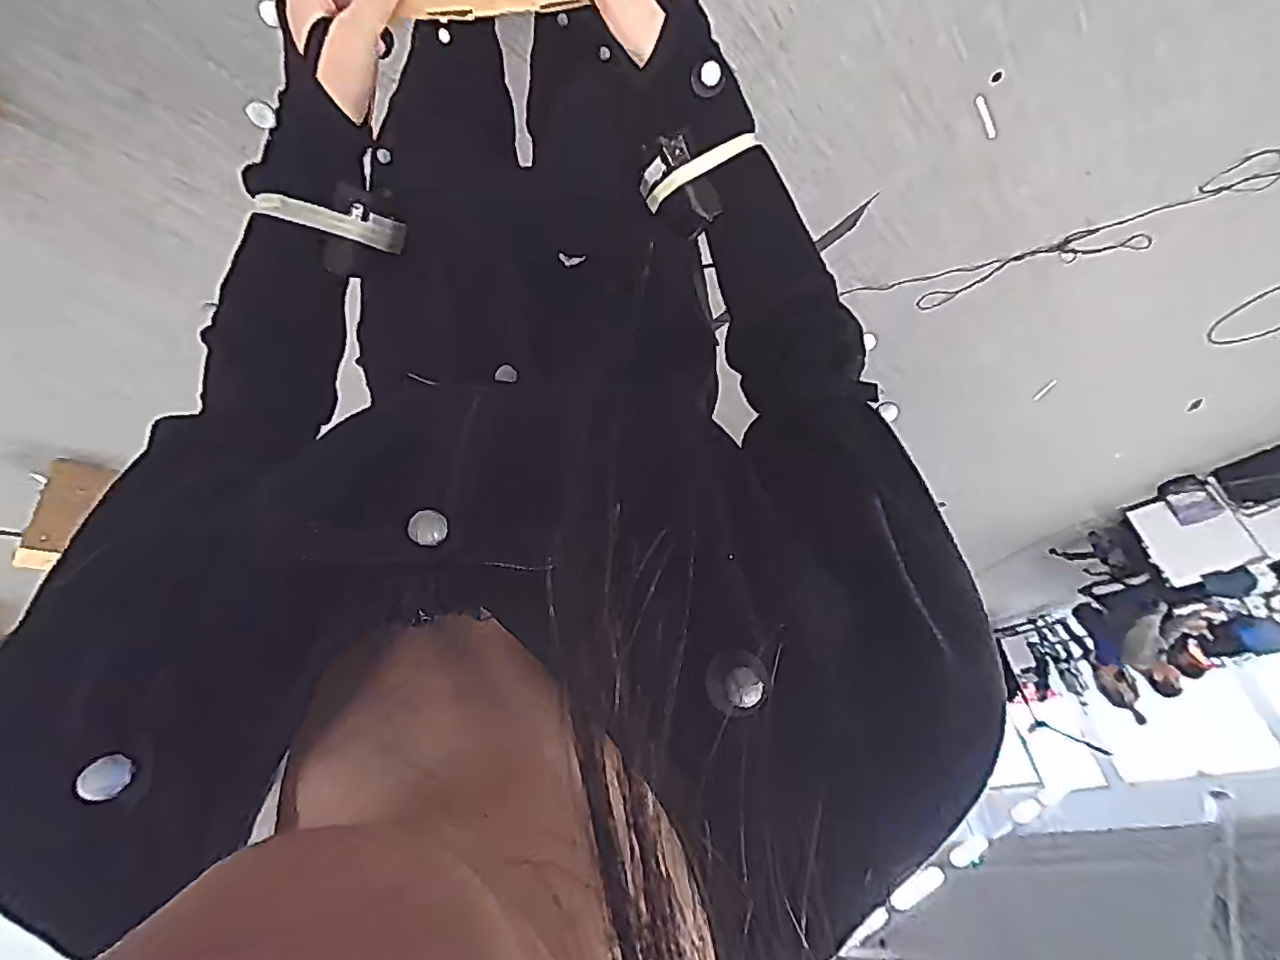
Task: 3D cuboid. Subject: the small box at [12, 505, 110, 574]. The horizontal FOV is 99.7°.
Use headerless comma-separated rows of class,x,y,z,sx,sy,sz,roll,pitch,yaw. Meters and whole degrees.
small box,-1.936,0.198,1.811,0.168,0.176,0.179,-29,147,32
